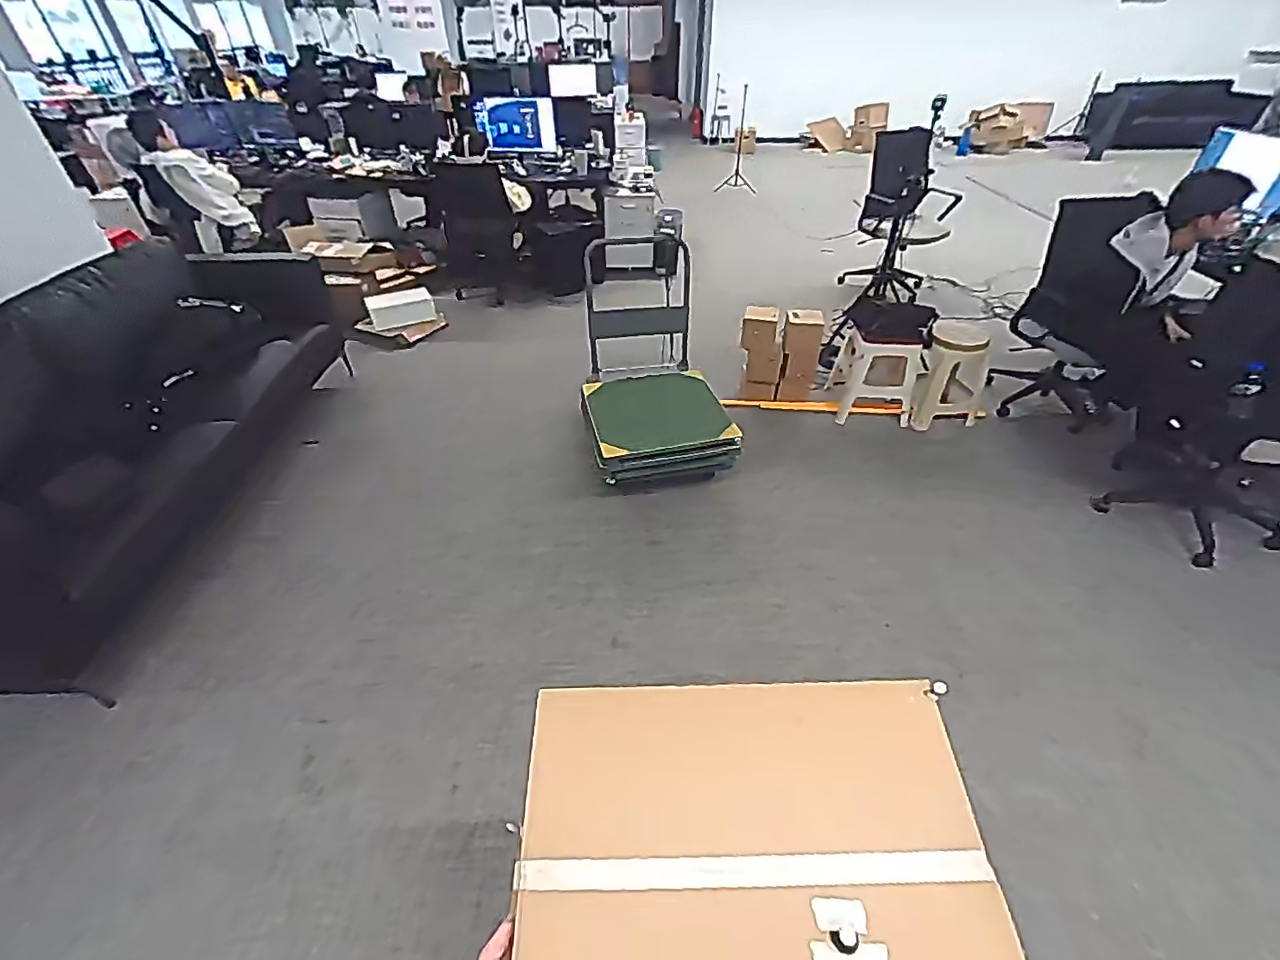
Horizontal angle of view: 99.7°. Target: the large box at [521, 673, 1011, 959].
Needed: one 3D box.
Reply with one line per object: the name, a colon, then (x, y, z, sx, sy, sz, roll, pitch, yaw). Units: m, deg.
large box: (0.101, 0.426, 0.596, 0.408, 0.320, 0.320, -2, 53, 1)
